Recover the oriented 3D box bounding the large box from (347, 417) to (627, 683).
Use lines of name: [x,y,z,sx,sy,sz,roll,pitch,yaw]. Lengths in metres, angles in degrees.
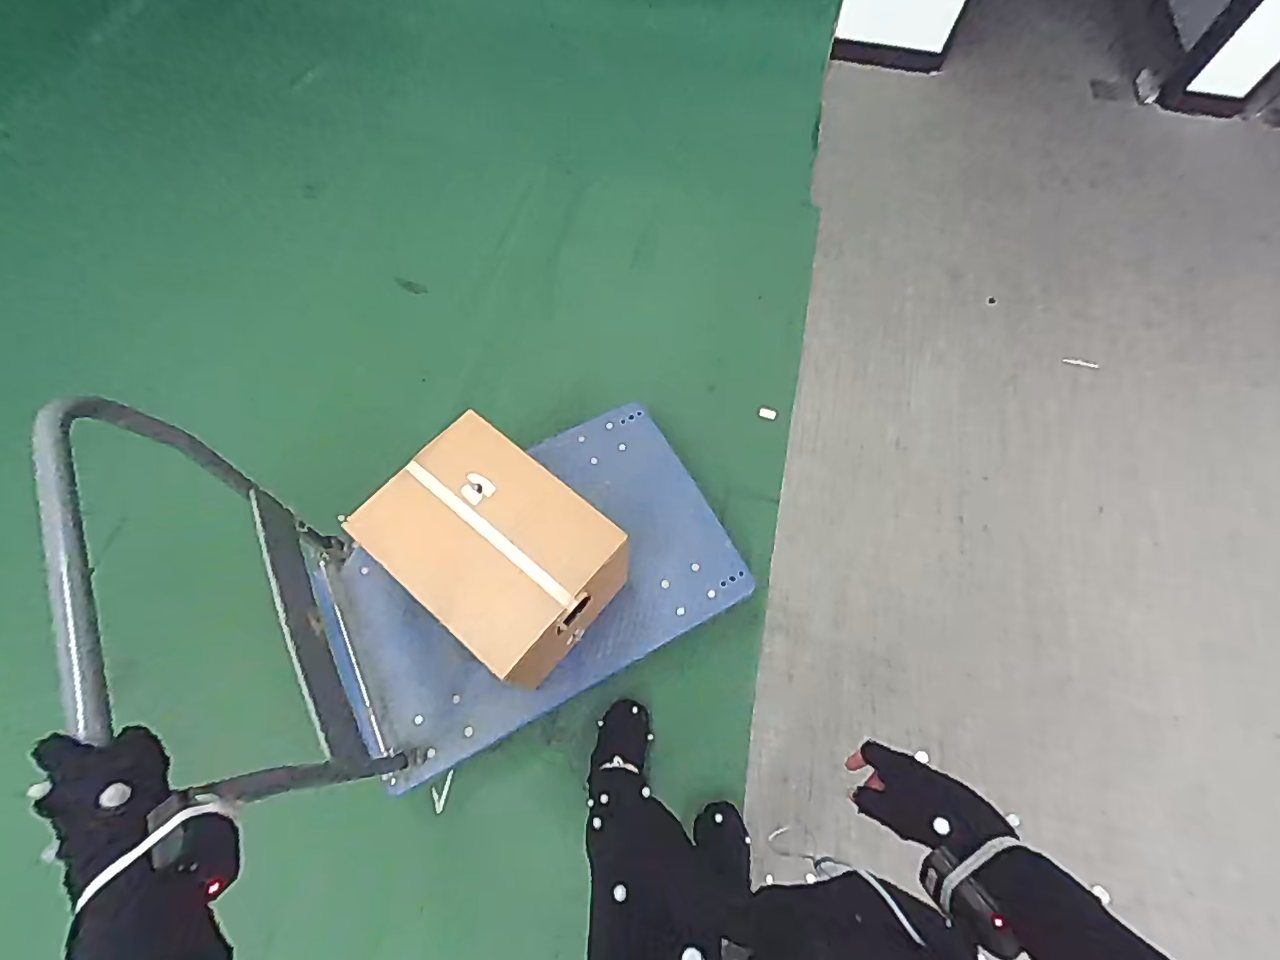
large box: [-0.275,0.155,1.097,0.408,0.320,0.320,37,70,15]
